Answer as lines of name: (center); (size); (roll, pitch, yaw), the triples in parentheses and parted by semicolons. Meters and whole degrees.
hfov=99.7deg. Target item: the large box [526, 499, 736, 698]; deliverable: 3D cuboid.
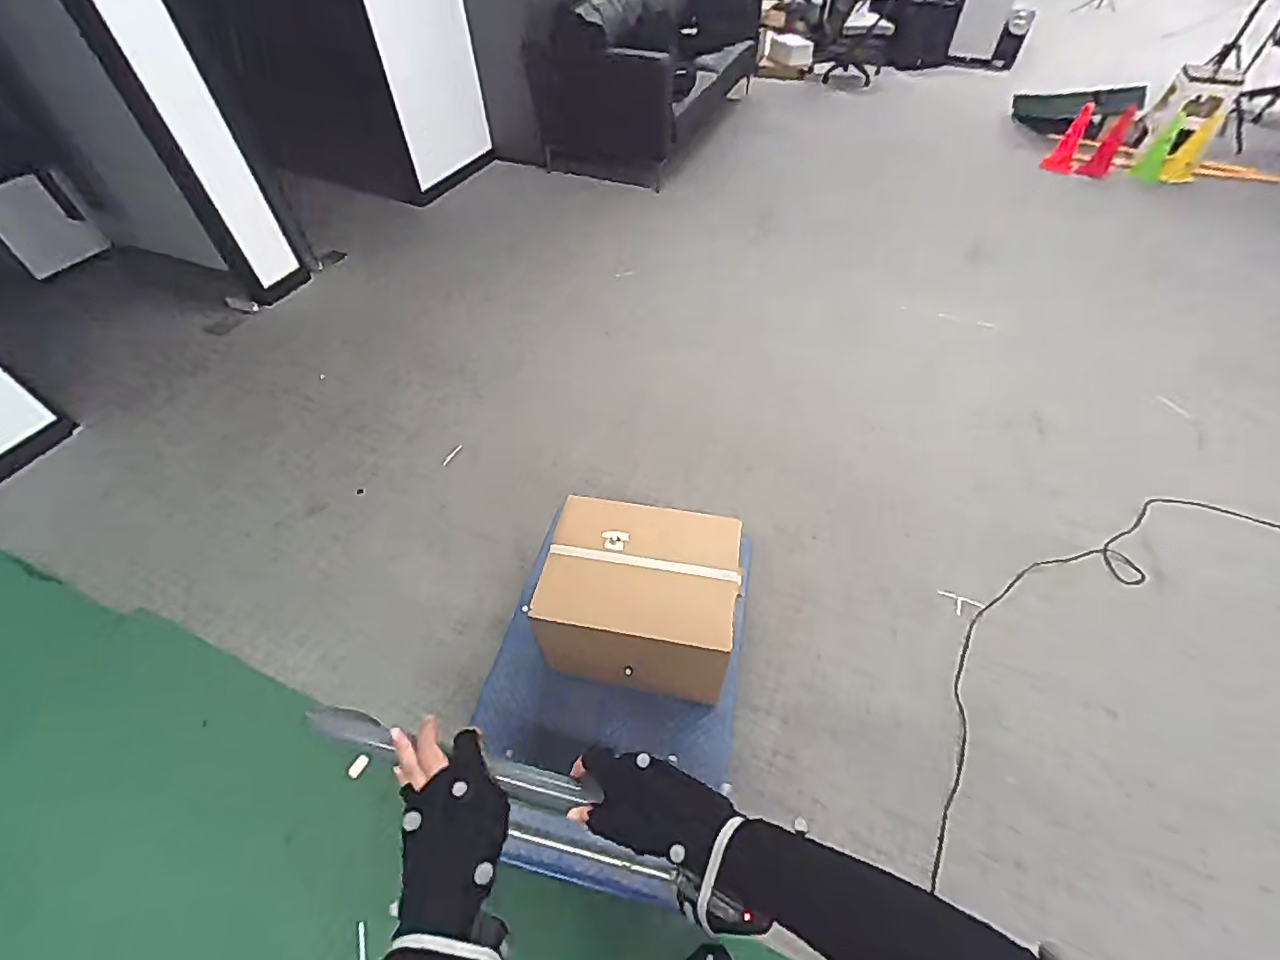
large box: (0.001, 0.275, 1.250); (0.408, 0.320, 0.320); (7, 50, 9)
